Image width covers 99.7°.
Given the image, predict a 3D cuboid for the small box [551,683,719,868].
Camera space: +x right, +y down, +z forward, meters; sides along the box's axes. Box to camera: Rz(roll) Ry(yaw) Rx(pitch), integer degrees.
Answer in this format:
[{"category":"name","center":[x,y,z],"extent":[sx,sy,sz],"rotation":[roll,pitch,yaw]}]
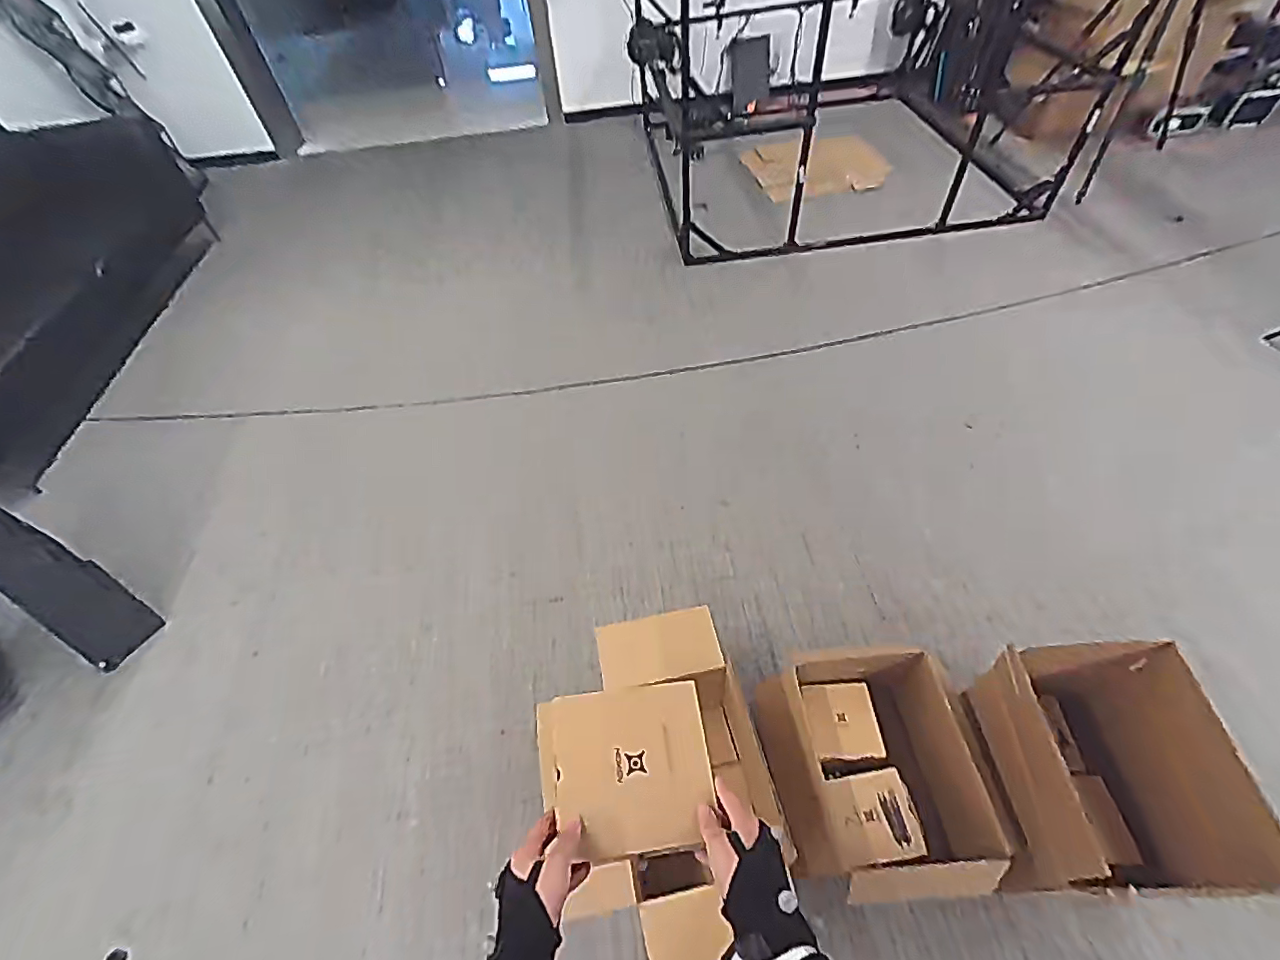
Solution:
[{"category":"small box","center":[-0.006,0.368,0.666],"extent":[0.179,0.176,0.168],"rotation":[-7,54,-2]}]
